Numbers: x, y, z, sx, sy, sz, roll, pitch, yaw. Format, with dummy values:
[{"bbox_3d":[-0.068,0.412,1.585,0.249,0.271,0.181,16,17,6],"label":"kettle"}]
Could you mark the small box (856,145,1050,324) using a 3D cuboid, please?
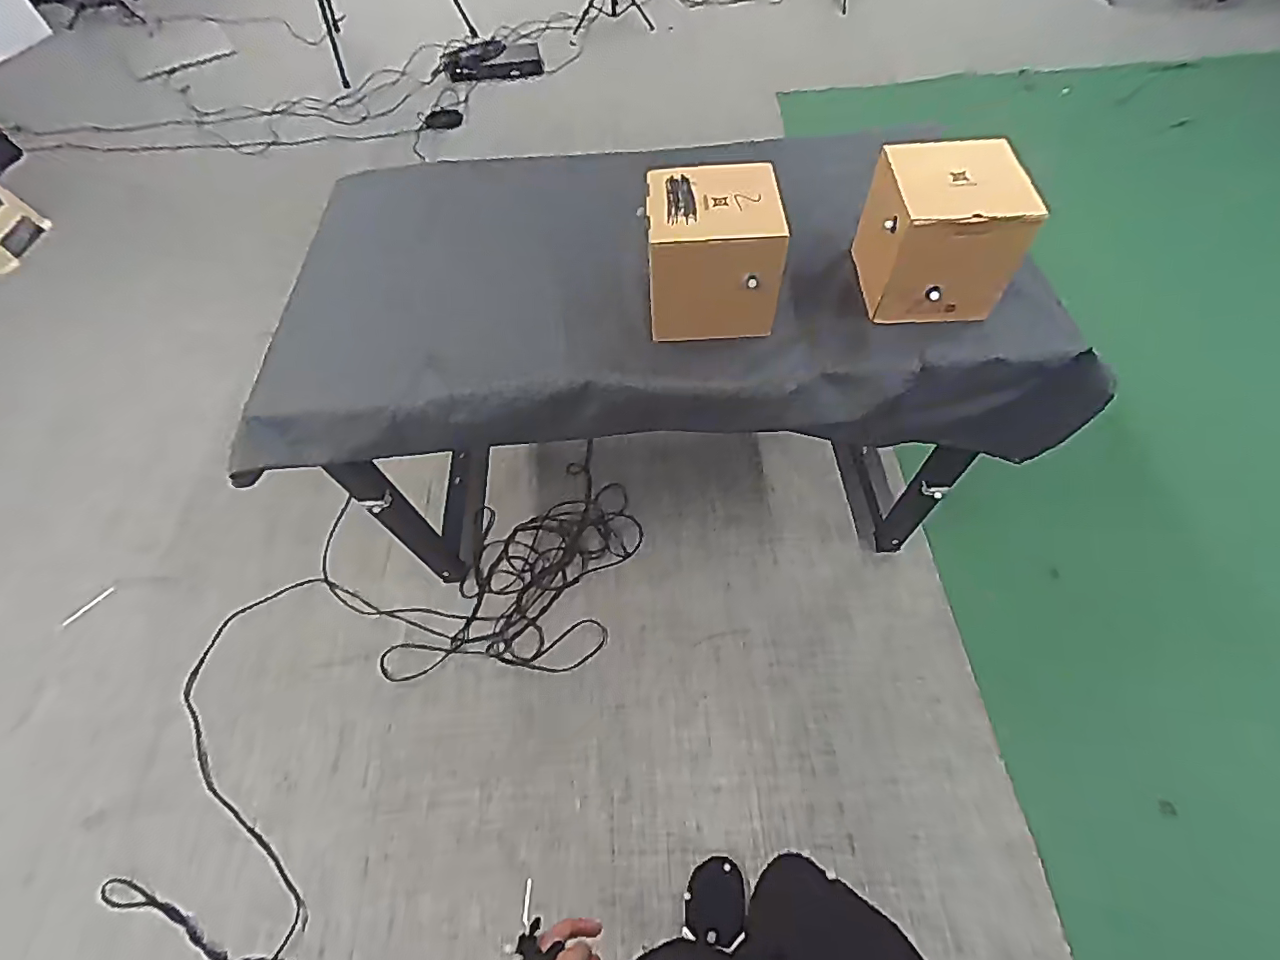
[{"bbox_3d":[0.425,-0.346,0.774,0.168,0.176,0.179,-1,59,4],"label":"small box"}]
